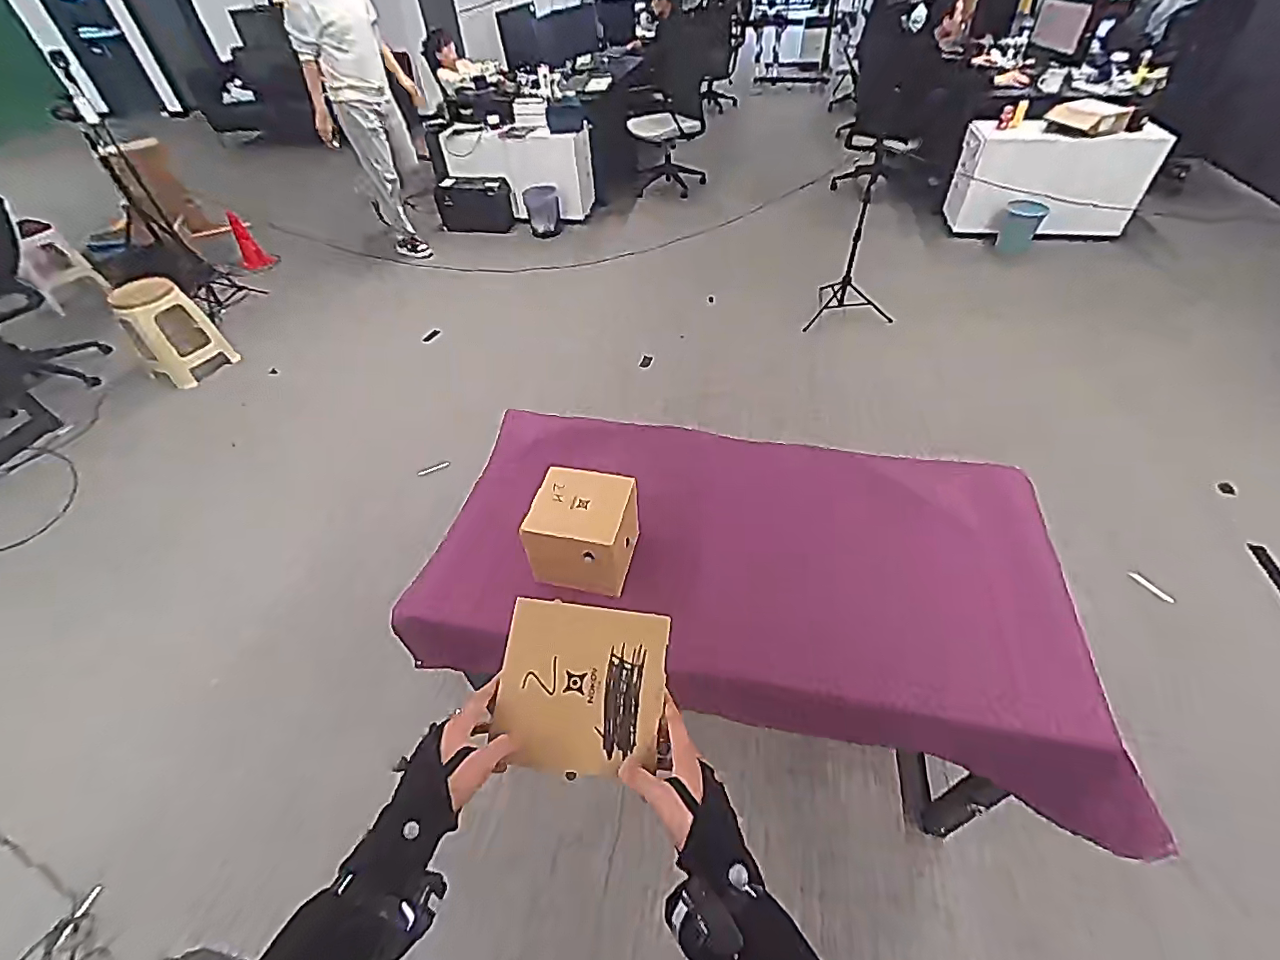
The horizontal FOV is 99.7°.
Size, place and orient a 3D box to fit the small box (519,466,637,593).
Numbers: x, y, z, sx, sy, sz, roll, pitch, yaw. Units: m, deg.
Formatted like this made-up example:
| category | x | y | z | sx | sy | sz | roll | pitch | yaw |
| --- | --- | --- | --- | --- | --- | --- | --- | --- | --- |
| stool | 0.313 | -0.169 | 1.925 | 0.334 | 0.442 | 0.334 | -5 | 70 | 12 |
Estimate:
| category | x | y | z | sx | sy | sz | roll | pitch | yaw |
| --- | --- | --- | --- | --- | --- | --- | --- | --- | --- |
| small box | -0.107 | 0.099 | 1.047 | 0.179 | 0.176 | 0.168 | 9 | 47 | 11 |
